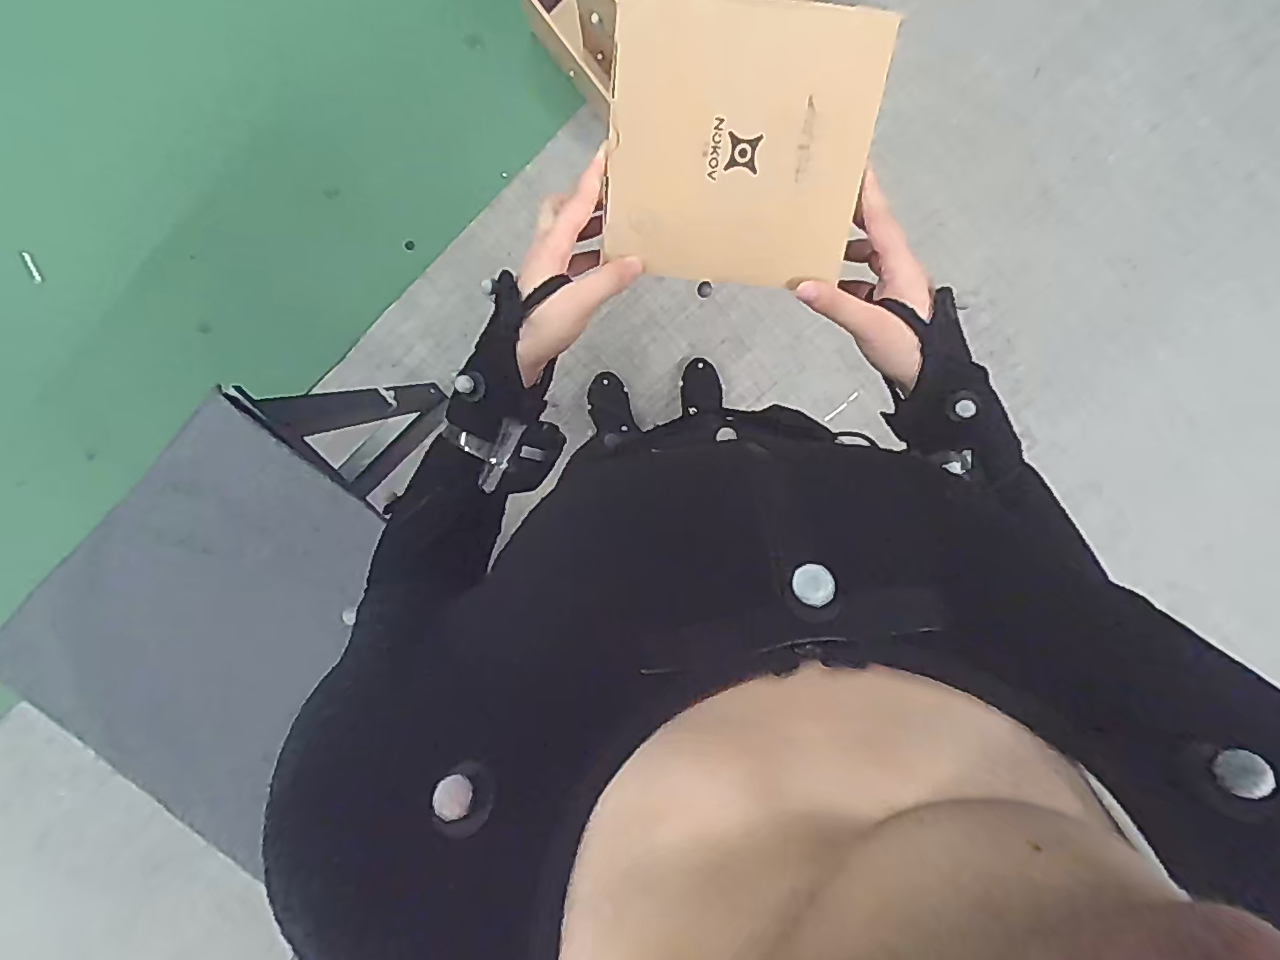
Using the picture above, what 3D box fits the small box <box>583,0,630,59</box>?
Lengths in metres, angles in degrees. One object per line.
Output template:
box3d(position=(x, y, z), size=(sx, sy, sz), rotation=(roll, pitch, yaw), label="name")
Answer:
box3d(position=(-0.001, -0.930, 0.985), size=(0.179, 0.176, 0.168), rotation=(-39, 99, 7), label="small box")

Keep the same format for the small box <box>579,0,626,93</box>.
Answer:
box3d(position=(-0.006, -0.967, 1.145), size=(0.179, 0.176, 0.168), rotation=(-41, 100, 6), label="small box")

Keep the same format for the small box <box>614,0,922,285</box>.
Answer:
box3d(position=(0.076, -0.253, 0.424), size=(0.179, 0.176, 0.168), rotation=(4, 115, -2), label="small box")
